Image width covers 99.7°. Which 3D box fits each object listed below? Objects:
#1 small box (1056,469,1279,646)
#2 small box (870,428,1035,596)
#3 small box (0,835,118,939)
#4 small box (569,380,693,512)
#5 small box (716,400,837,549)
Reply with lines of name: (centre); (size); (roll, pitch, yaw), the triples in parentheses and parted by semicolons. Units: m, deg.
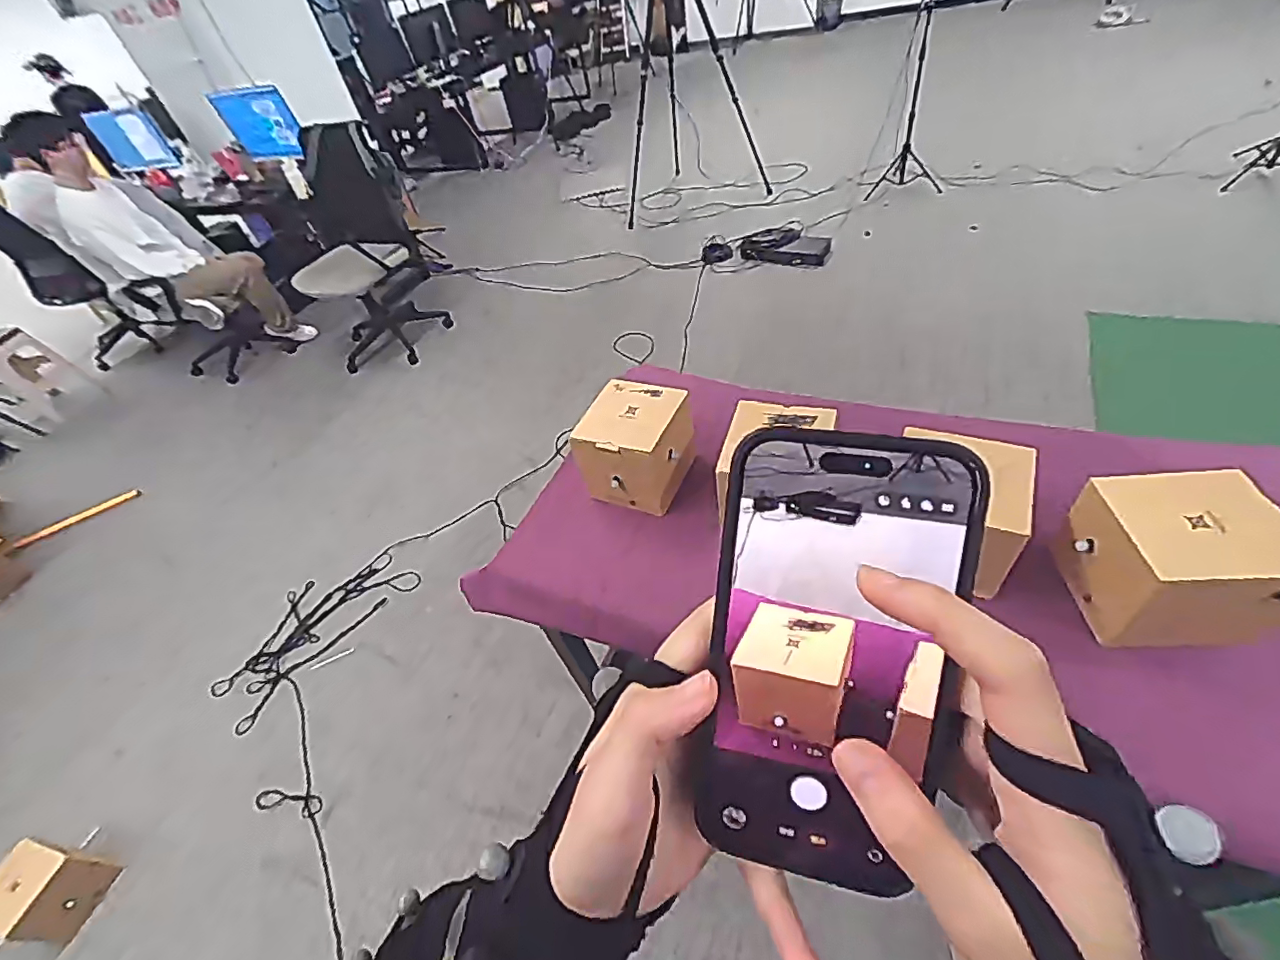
small box: (0.690, 0.106, 0.710); (0.179, 0.176, 0.168); (-4, 46, 10)
small box: (0.463, 0.049, 0.819); (0.179, 0.176, 0.168); (16, 53, 25)
small box: (-1.491, 1.022, 1.356); (0.179, 0.176, 0.168); (5, 49, 18)
small box: (-0.006, -0.064, 1.034); (0.168, 0.176, 0.179); (13, 52, 24)
small box: (0.234, -0.011, 0.927); (0.168, 0.176, 0.179); (9, 50, 21)
